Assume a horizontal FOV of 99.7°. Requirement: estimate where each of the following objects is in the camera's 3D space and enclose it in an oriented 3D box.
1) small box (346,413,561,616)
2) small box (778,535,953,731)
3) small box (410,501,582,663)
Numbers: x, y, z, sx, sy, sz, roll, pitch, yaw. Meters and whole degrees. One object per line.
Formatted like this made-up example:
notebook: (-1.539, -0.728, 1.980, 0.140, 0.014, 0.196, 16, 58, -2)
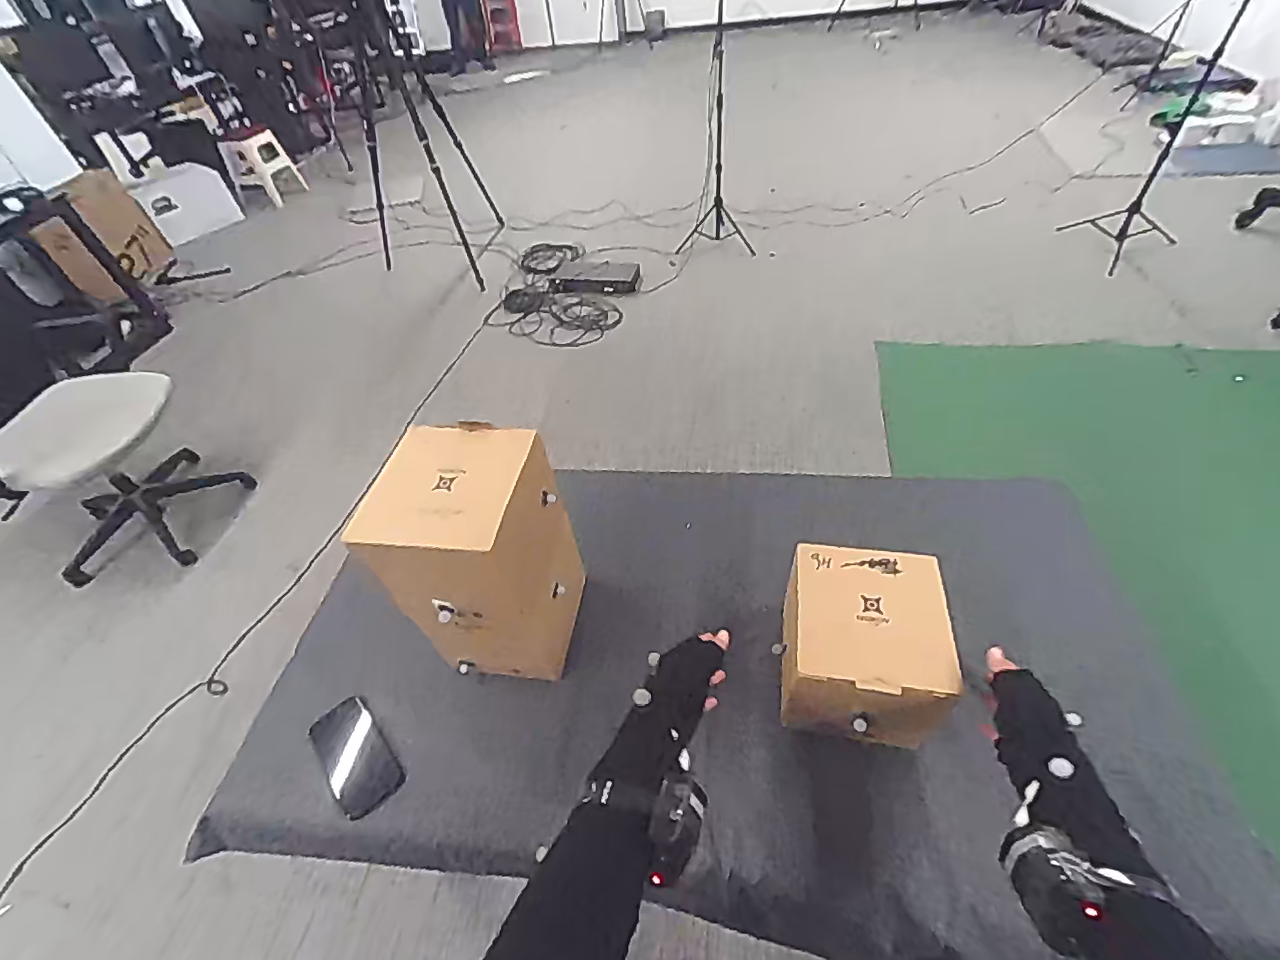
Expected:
small box: (-0.202, 0.040, 0.650, 0.168, 0.176, 0.179, 2, 50, 10)
small box: (0.266, 0.193, 0.677, 0.168, 0.176, 0.179, 5, 50, 12)
small box: (-0.188, 0.143, 0.775, 0.168, 0.176, 0.179, 4, 49, 10)
